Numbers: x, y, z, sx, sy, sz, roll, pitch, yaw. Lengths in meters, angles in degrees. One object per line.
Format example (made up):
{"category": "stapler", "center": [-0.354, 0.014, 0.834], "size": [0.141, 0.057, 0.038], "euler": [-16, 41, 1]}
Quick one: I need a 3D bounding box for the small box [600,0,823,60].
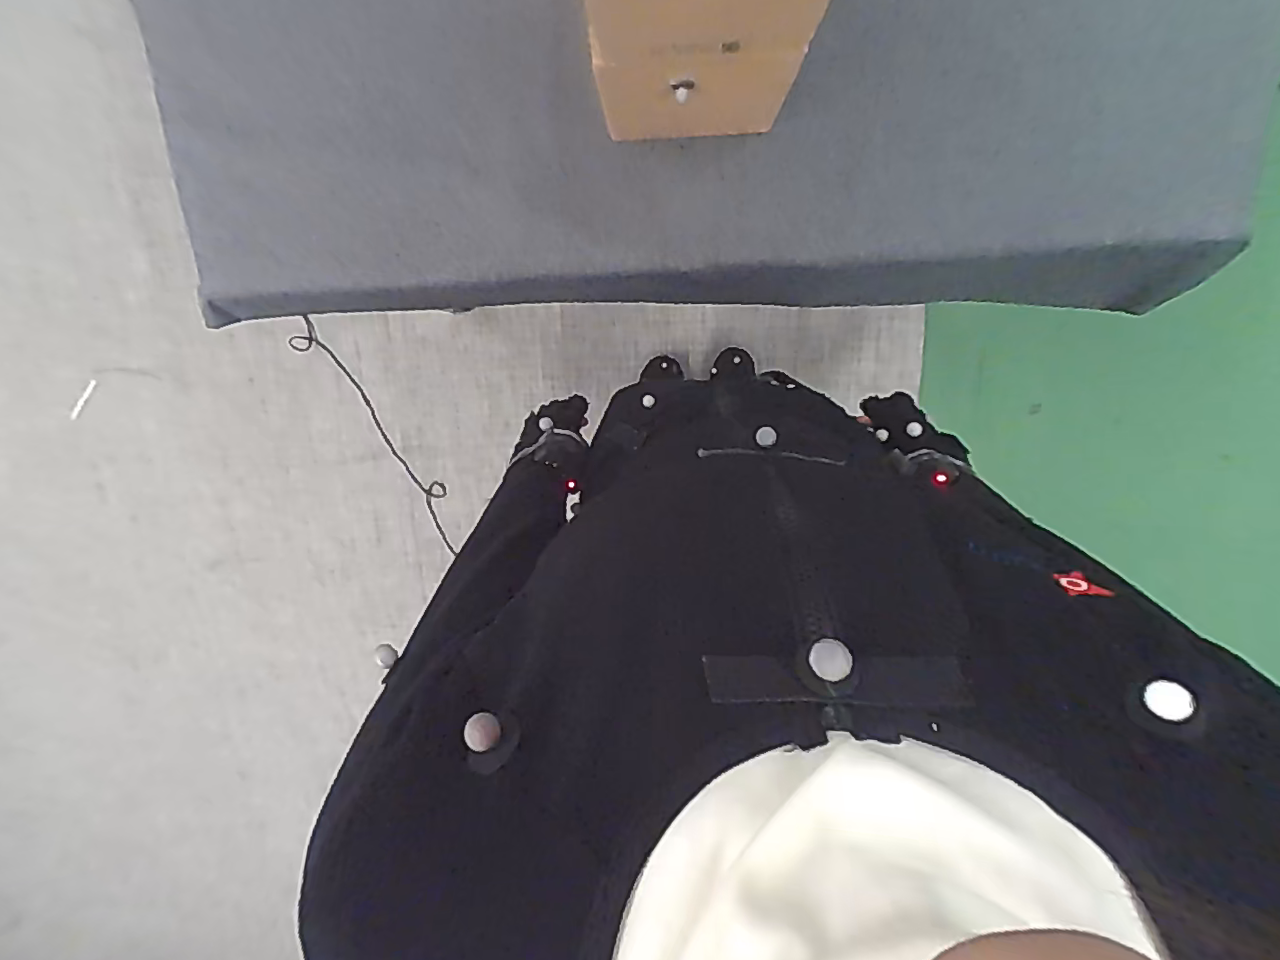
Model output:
{"category": "small box", "center": [0.047, -0.415, 0.346], "size": [0.168, 0.176, 0.179], "euler": [-3, 105, 3]}

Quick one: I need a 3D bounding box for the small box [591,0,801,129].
{"category": "small box", "center": [0.050, -0.450, 0.503], "size": [0.179, 0.176, 0.168], "euler": [-1, 104, 3]}
